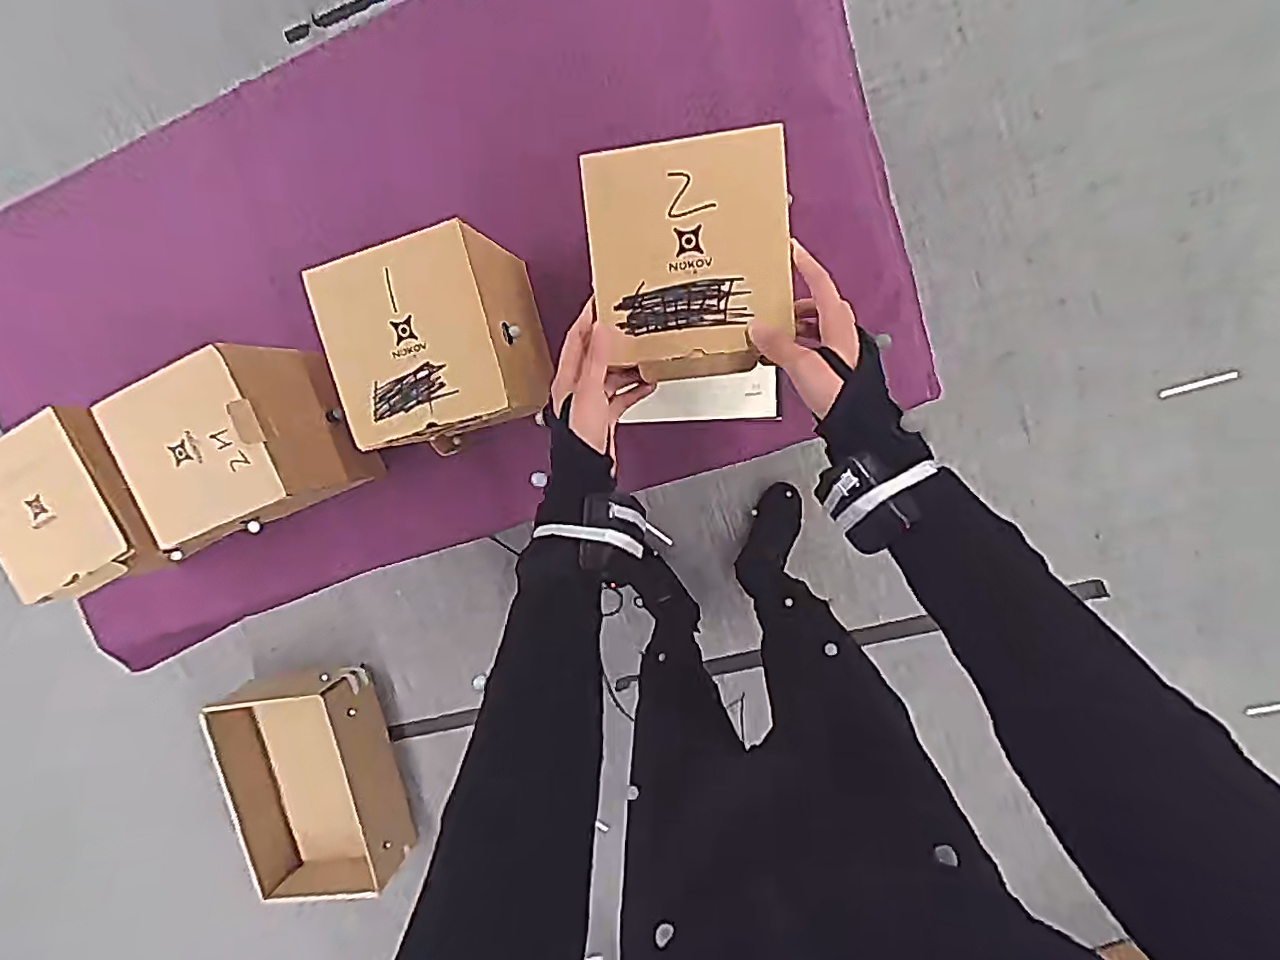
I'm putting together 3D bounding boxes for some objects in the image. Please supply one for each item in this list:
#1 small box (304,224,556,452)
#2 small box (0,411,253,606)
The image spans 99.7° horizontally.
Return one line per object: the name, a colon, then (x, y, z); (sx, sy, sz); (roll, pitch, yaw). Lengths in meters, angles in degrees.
small box: (-0.205, -0.140, 0.580); (0.168, 0.176, 0.179); (-14, 96, 10)
small box: (-0.640, 0.024, 0.672); (0.168, 0.176, 0.179); (-25, 94, 11)
